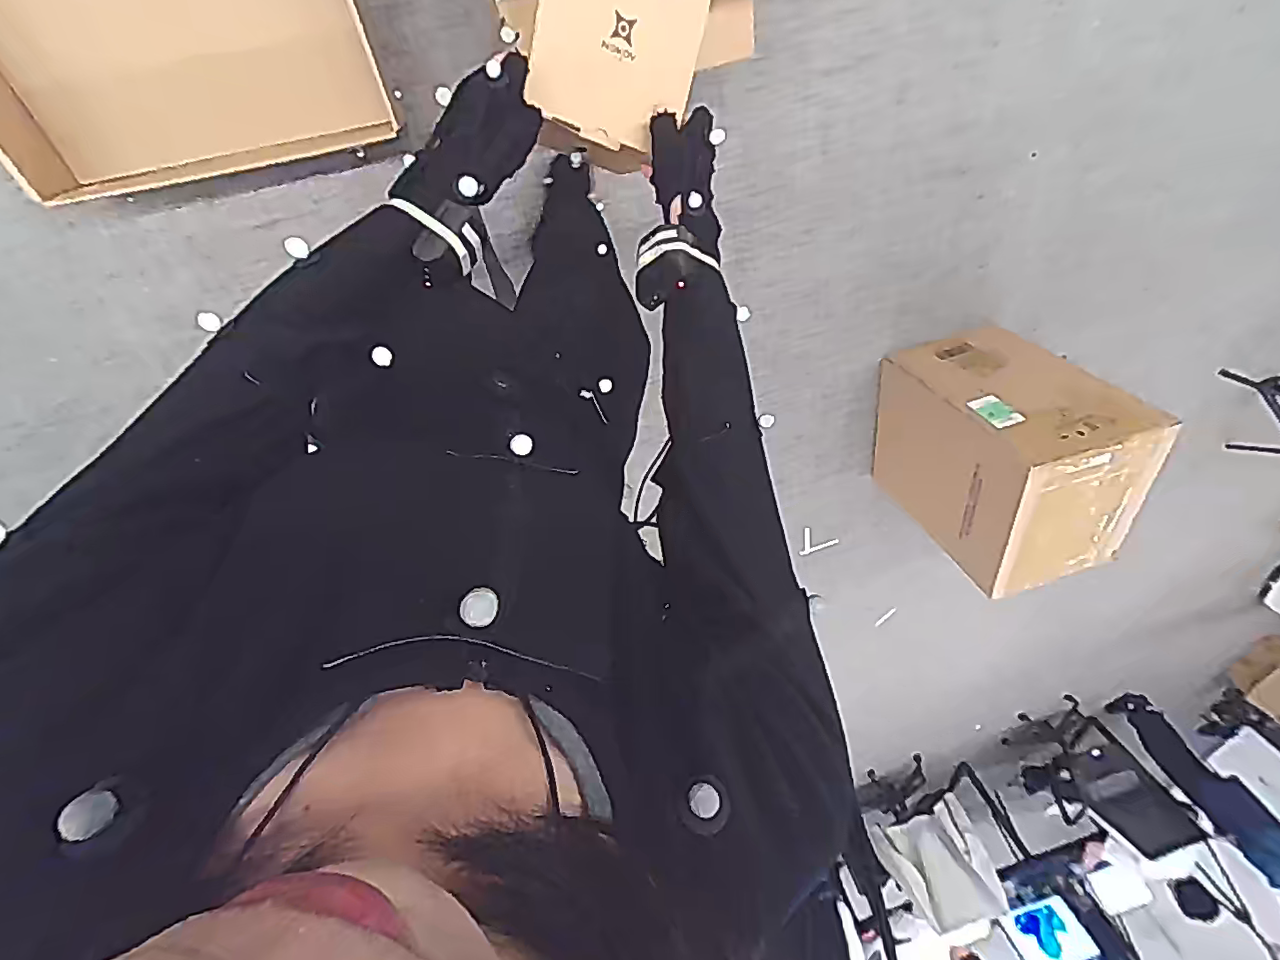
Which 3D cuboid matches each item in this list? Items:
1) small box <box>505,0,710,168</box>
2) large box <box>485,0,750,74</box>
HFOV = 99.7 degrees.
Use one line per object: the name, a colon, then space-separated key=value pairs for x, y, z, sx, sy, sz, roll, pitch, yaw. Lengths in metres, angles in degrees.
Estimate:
small box: x=-0.048 y=-0.465 z=0.596 sx=0.168 sy=0.176 sz=0.179 roll=5 pitch=113 yaw=-25
large box: x=-0.064 y=-0.874 z=0.942 sx=0.408 sy=0.320 sz=0.320 roll=-18 pitch=130 yaw=-5
